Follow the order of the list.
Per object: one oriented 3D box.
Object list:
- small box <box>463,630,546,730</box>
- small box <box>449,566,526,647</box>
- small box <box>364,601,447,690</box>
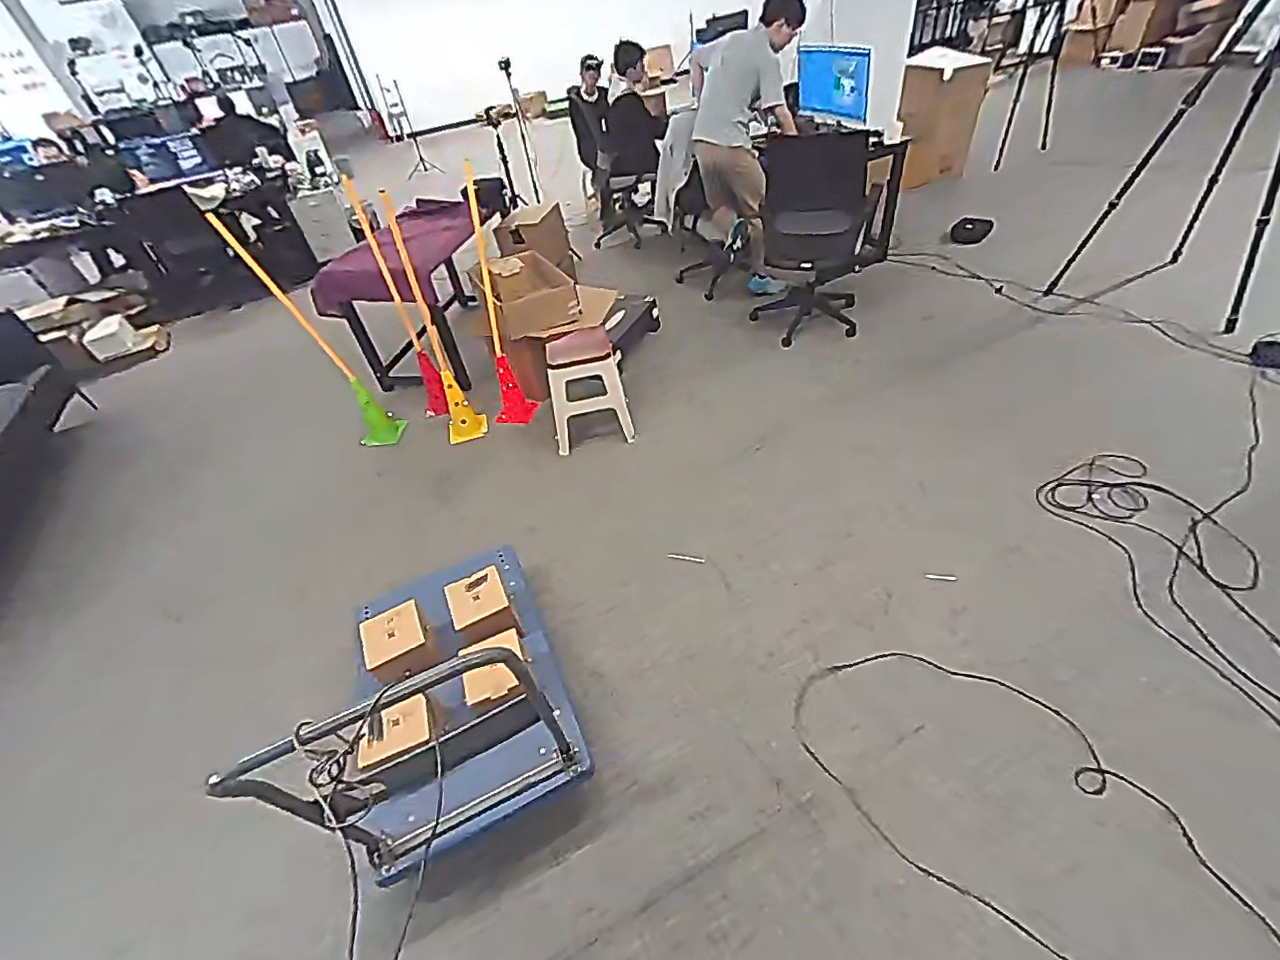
[{"bbox_3d":[-0.378,0.560,1.513,0.168,0.176,0.179,-21,45,-11],"label":"small box"},{"bbox_3d":[-0.473,0.409,1.687,0.168,0.176,0.179,-24,46,-13],"label":"small box"},{"bbox_3d":[-0.704,0.506,1.633,0.168,0.176,0.179,-25,45,-15],"label":"small box"}]
